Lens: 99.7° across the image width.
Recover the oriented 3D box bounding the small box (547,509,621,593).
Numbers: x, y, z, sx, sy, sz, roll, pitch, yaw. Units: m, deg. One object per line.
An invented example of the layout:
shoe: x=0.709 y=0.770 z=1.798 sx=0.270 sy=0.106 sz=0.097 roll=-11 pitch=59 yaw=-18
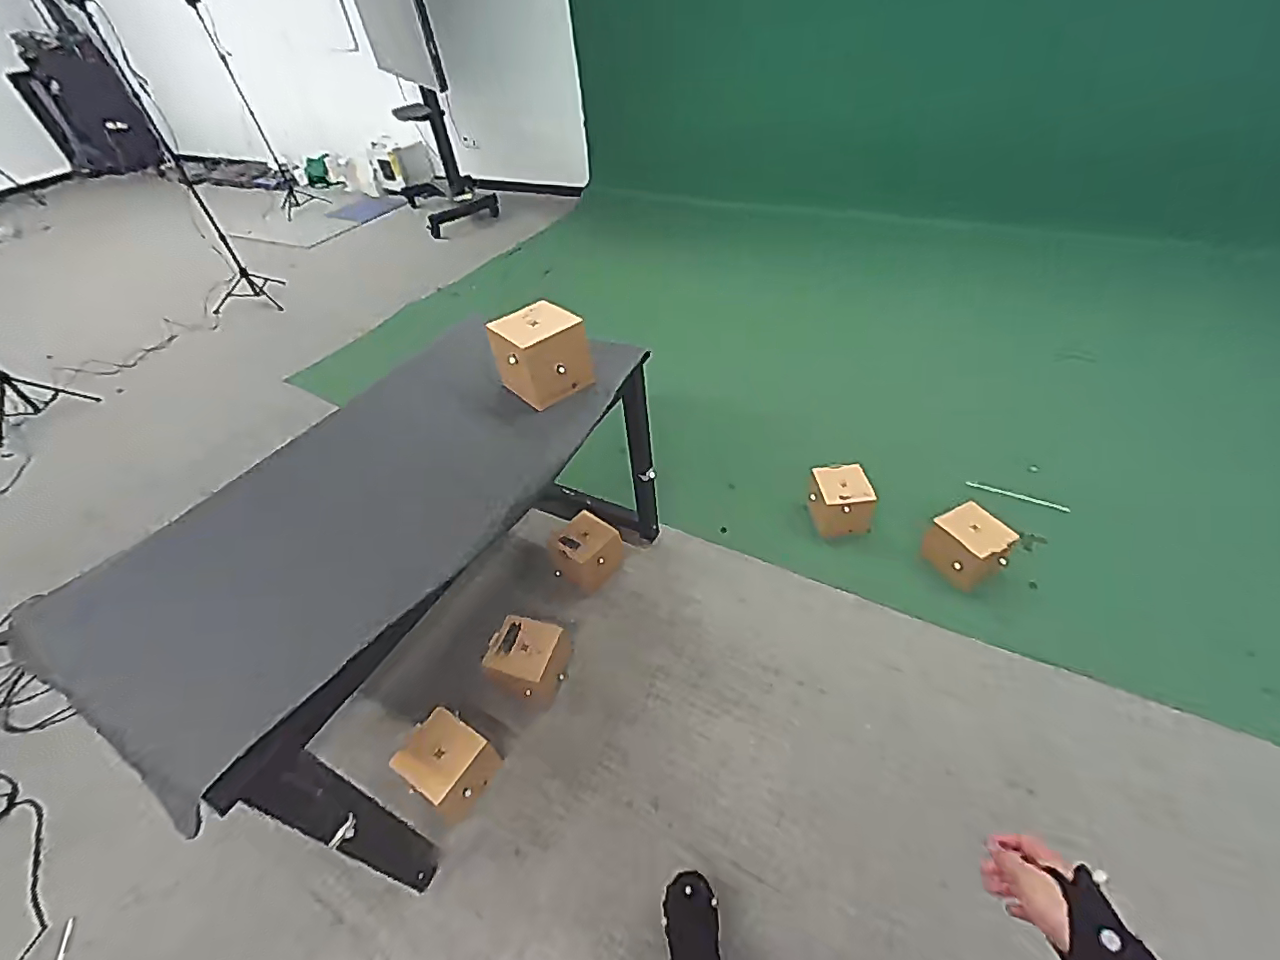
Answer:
small box: x=-0.175 y=0.237 z=1.775 sx=0.168 sy=0.176 sz=0.179 roll=30 pitch=53 yaw=31

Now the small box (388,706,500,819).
small box: x=-0.474 y=0.702 z=1.335 sx=0.179 sy=0.176 sz=0.168 roll=22 pitch=51 yaw=26

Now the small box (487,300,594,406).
small box: x=-0.229 y=-0.297 z=1.278 sx=0.168 sy=0.176 sz=0.179 roll=-33 pitch=48 yaw=-25

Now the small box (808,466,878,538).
small box: x=0.685 y=0.076 z=1.849 sx=0.168 sy=0.176 sz=0.179 roll=-5 pitch=43 yaw=1

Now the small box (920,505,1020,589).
small box: x=1.011 y=0.214 z=1.671 sx=0.168 sy=0.176 sz=0.179 roll=-21 pitch=45 yaw=-16
